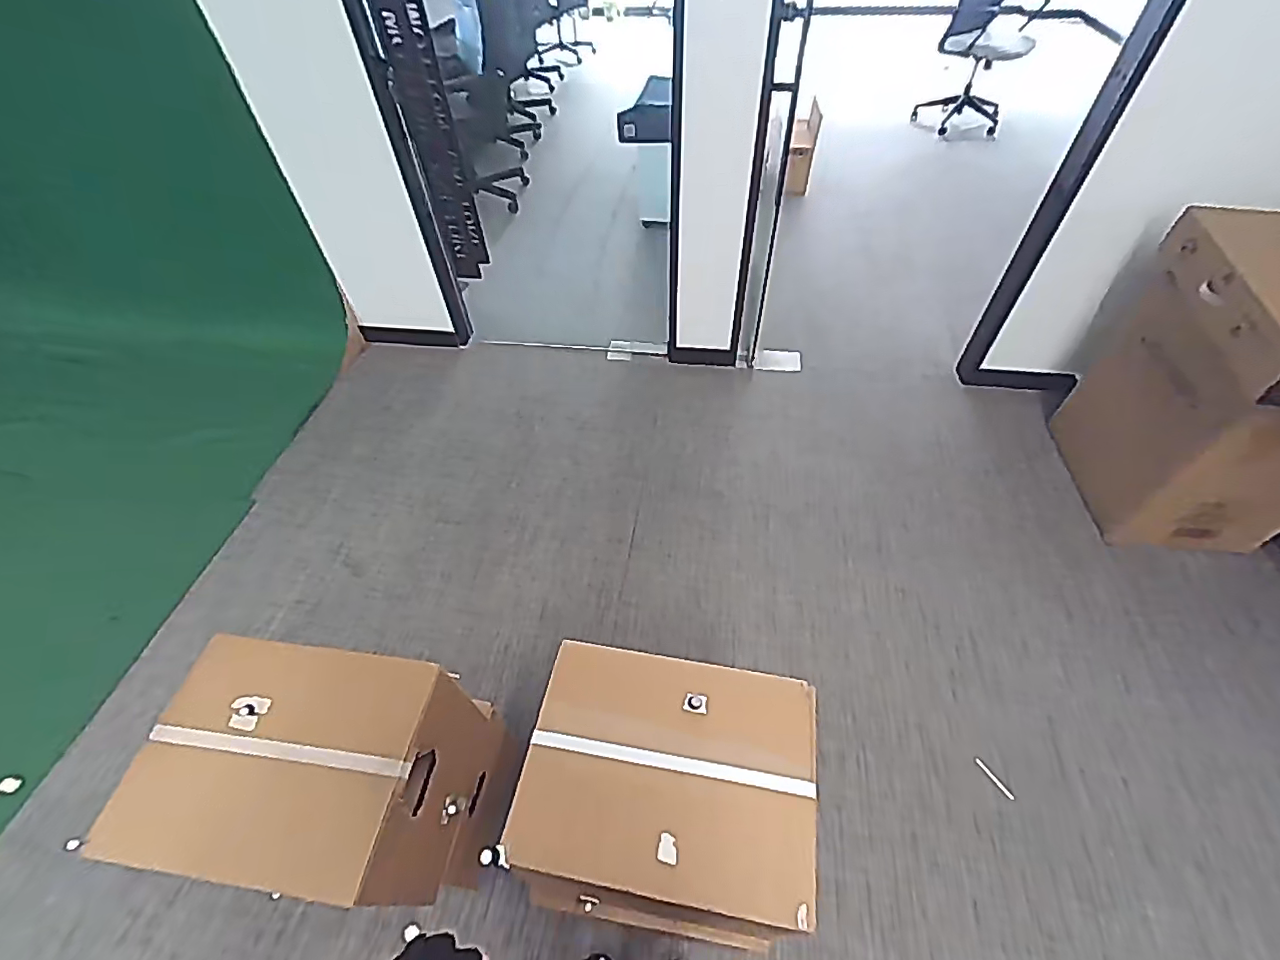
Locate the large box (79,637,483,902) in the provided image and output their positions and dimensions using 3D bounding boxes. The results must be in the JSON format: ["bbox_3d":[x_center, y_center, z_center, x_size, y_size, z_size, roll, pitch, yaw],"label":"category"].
[{"bbox_3d":[-0.534,0.486,0.912,0.408,0.320,0.320,5,53,7],"label":"large box"}]
